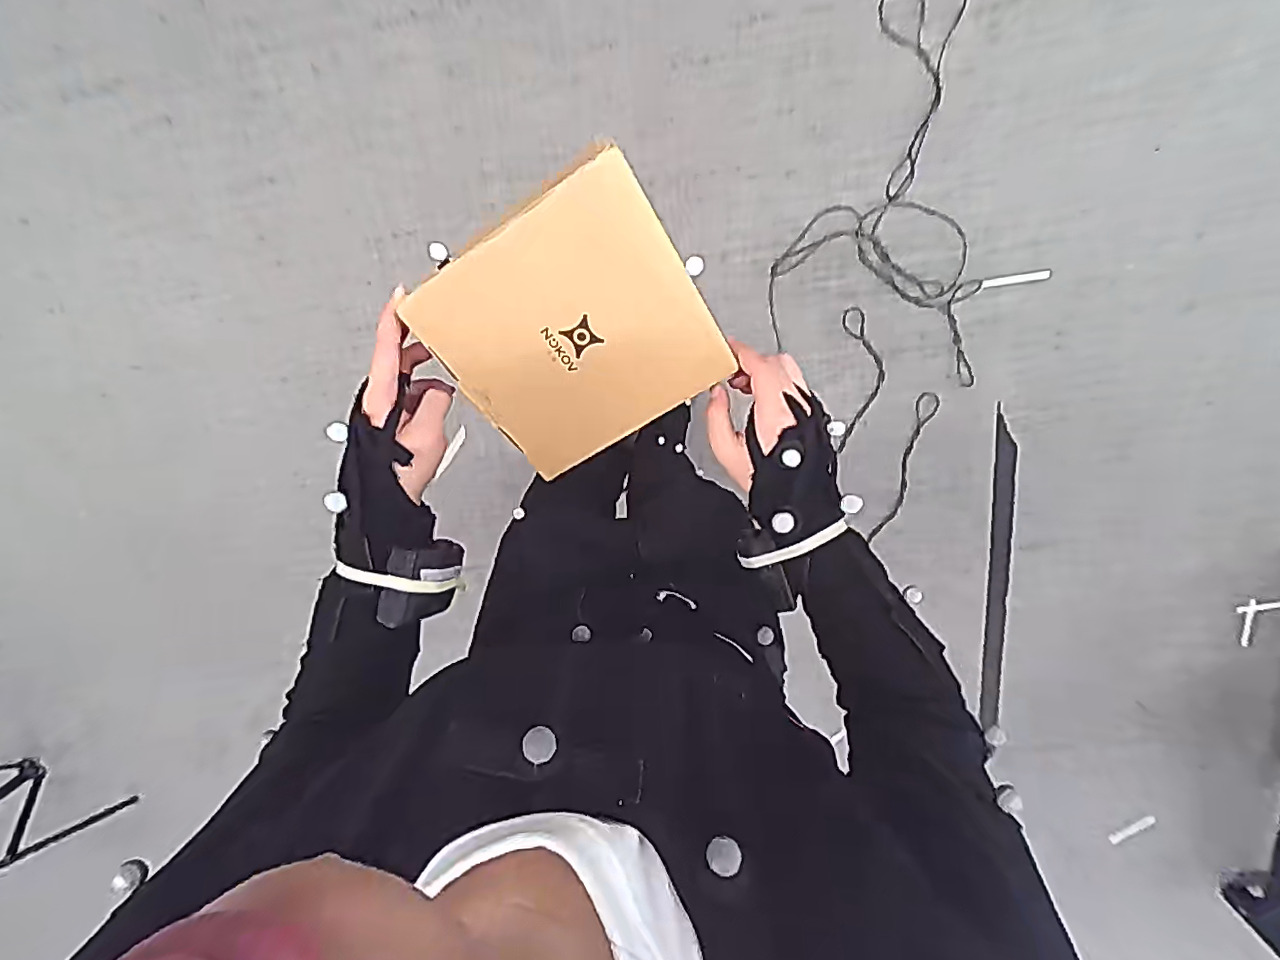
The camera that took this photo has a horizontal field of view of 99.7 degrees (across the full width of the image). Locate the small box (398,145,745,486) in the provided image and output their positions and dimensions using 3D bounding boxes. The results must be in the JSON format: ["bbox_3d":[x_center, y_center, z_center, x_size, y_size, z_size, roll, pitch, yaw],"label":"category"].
[{"bbox_3d":[-0.046,-0.134,0.424,0.179,0.176,0.168,-29,121,14],"label":"small box"}]
